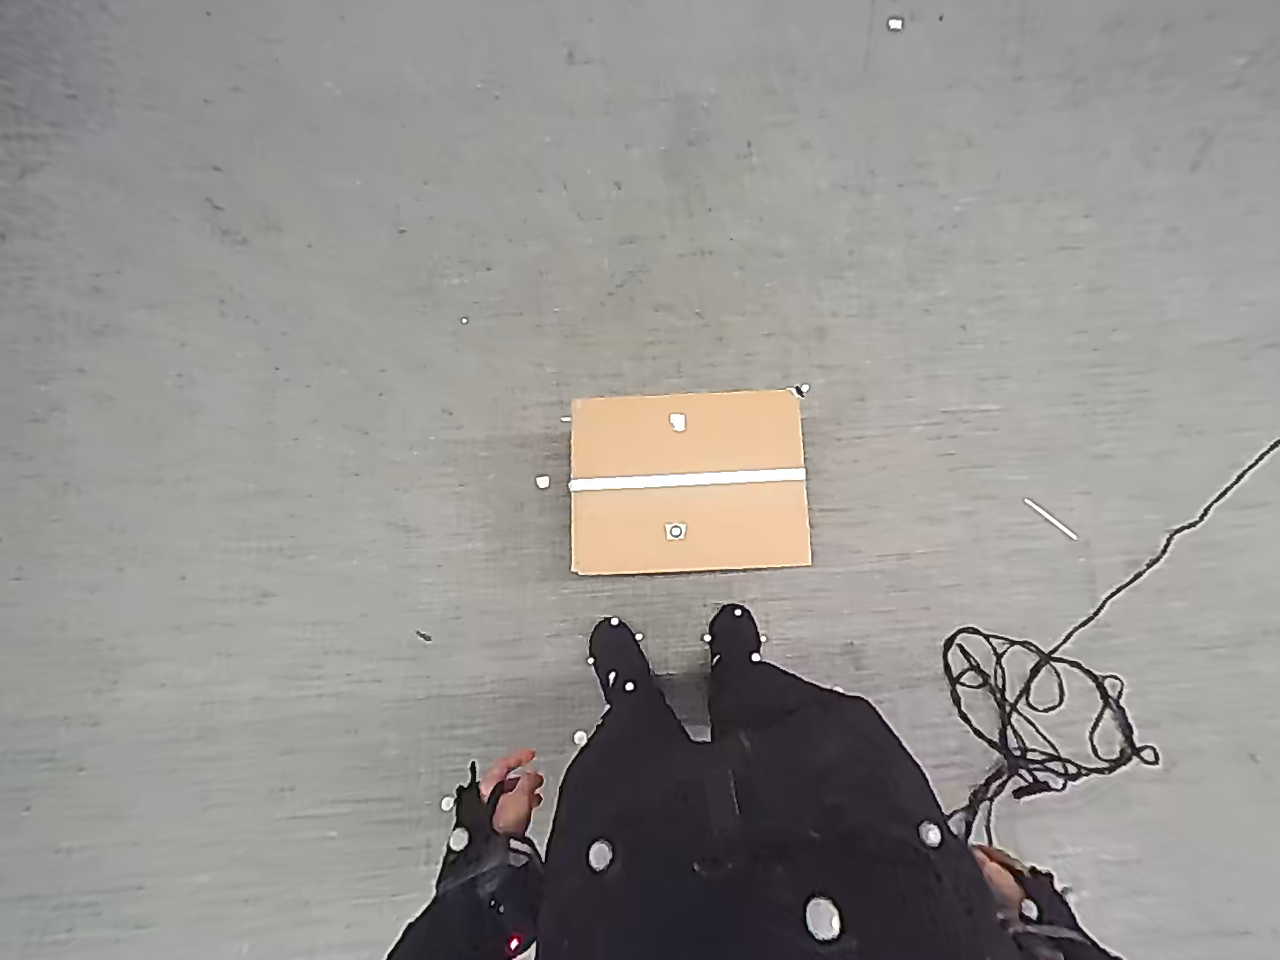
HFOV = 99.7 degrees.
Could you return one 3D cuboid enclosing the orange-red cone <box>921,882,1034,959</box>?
[{"bbox_3d":[0.670,0.895,0.901,0.199,0.360,0.198,16,82,2],"label":"orange-red cone"}]
